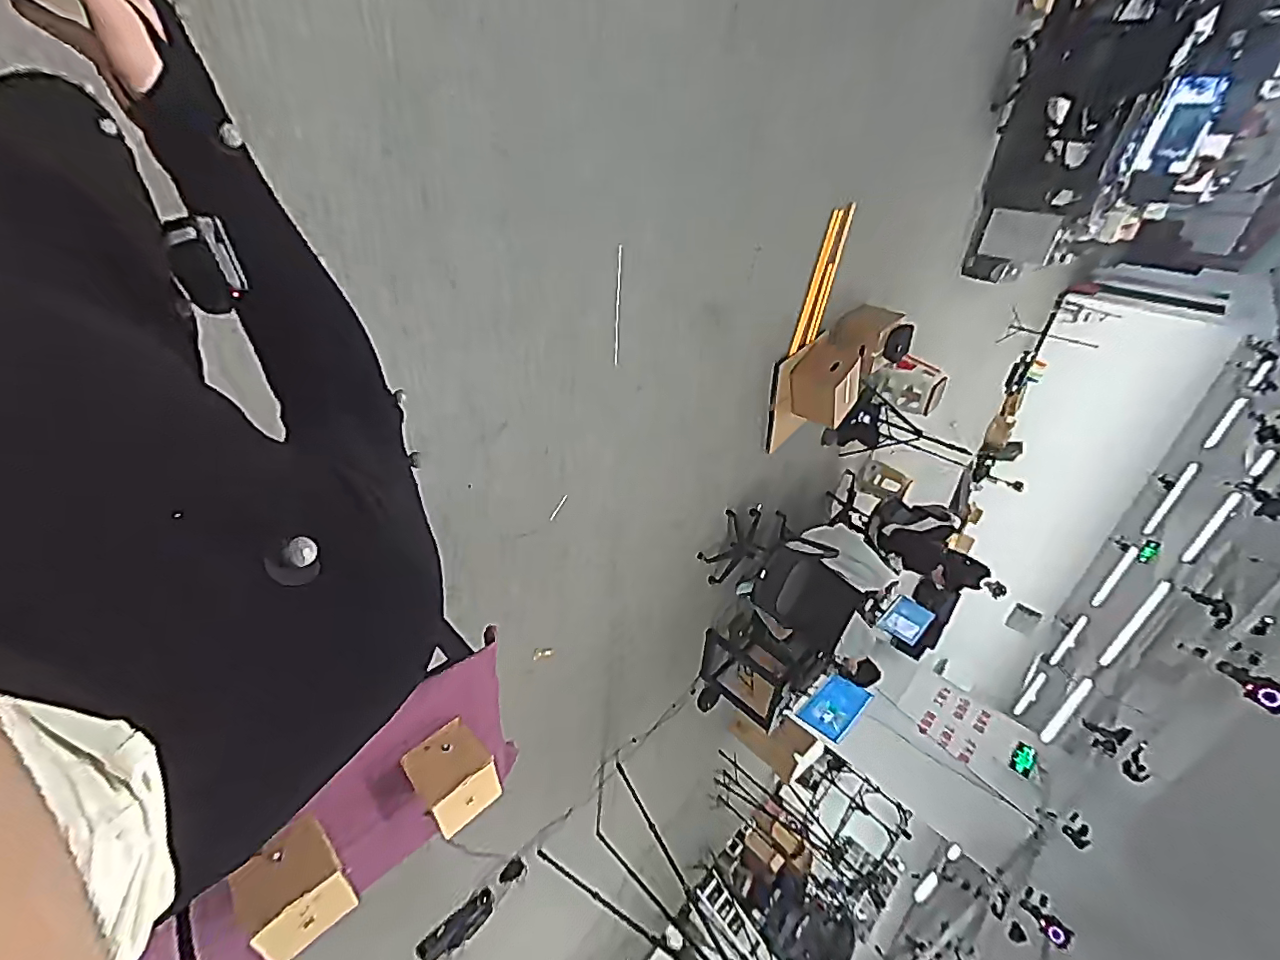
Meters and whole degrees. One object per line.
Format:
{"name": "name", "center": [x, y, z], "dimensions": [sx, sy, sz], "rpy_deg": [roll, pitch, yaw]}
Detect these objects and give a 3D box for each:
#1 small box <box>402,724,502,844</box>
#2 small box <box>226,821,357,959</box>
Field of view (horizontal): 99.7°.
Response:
{"name": "small box", "center": [-0.478, 0.768, 1.380], "dimensions": [0.168, 0.176, 0.179], "rpy_deg": [-30, 135, -35]}
{"name": "small box", "center": [-0.731, 0.872, 1.139], "dimensions": [0.168, 0.176, 0.179], "rpy_deg": [-28, 134, -38]}
